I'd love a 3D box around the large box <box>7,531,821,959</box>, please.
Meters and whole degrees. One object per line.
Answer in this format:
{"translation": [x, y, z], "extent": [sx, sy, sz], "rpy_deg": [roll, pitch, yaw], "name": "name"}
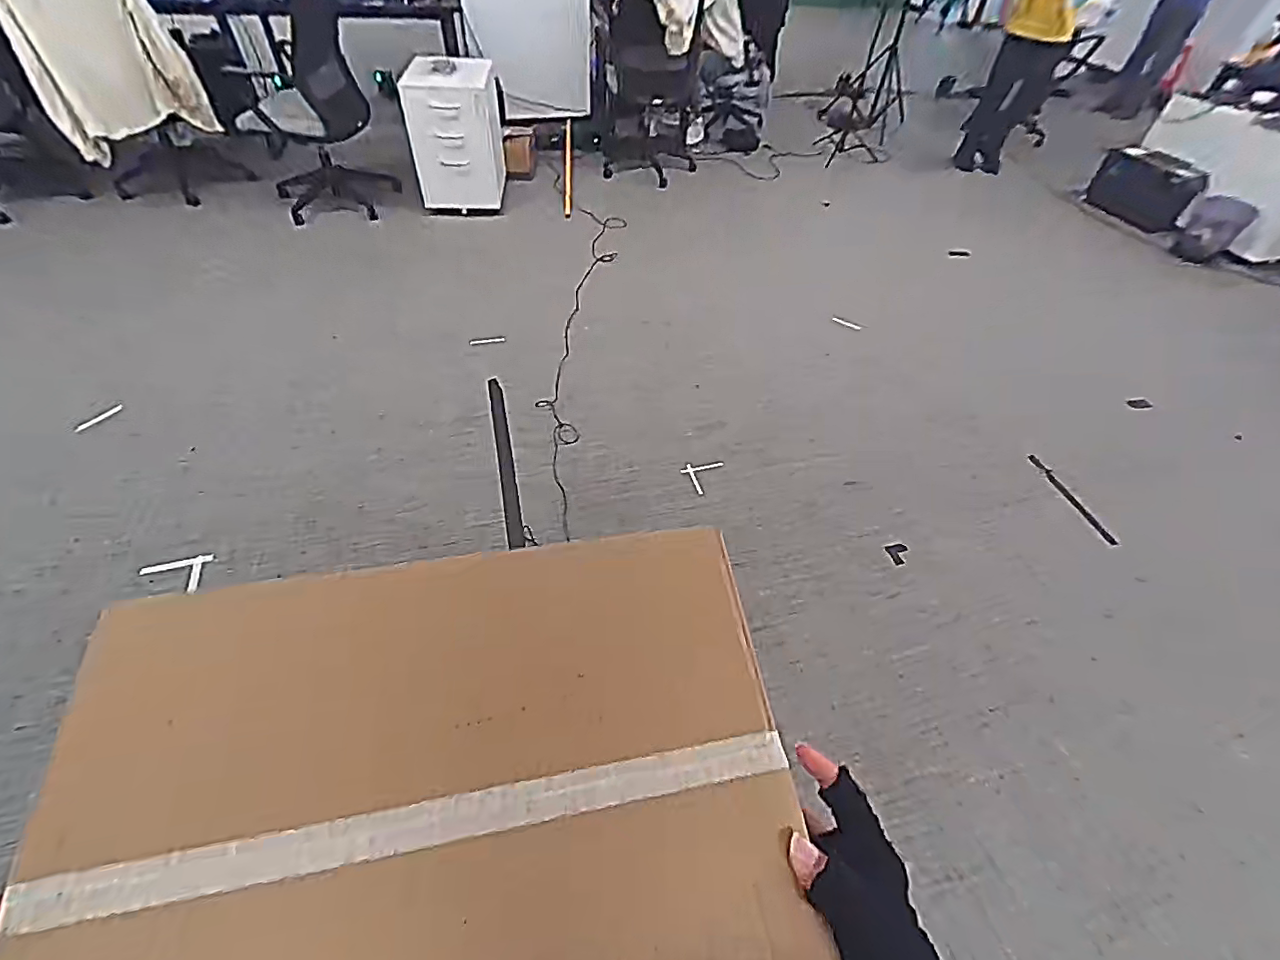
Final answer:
{"translation": [-0.128, 0.268, 0.436], "extent": [0.408, 0.320, 0.320], "rpy_deg": [-6, 58, -9], "name": "large box"}
